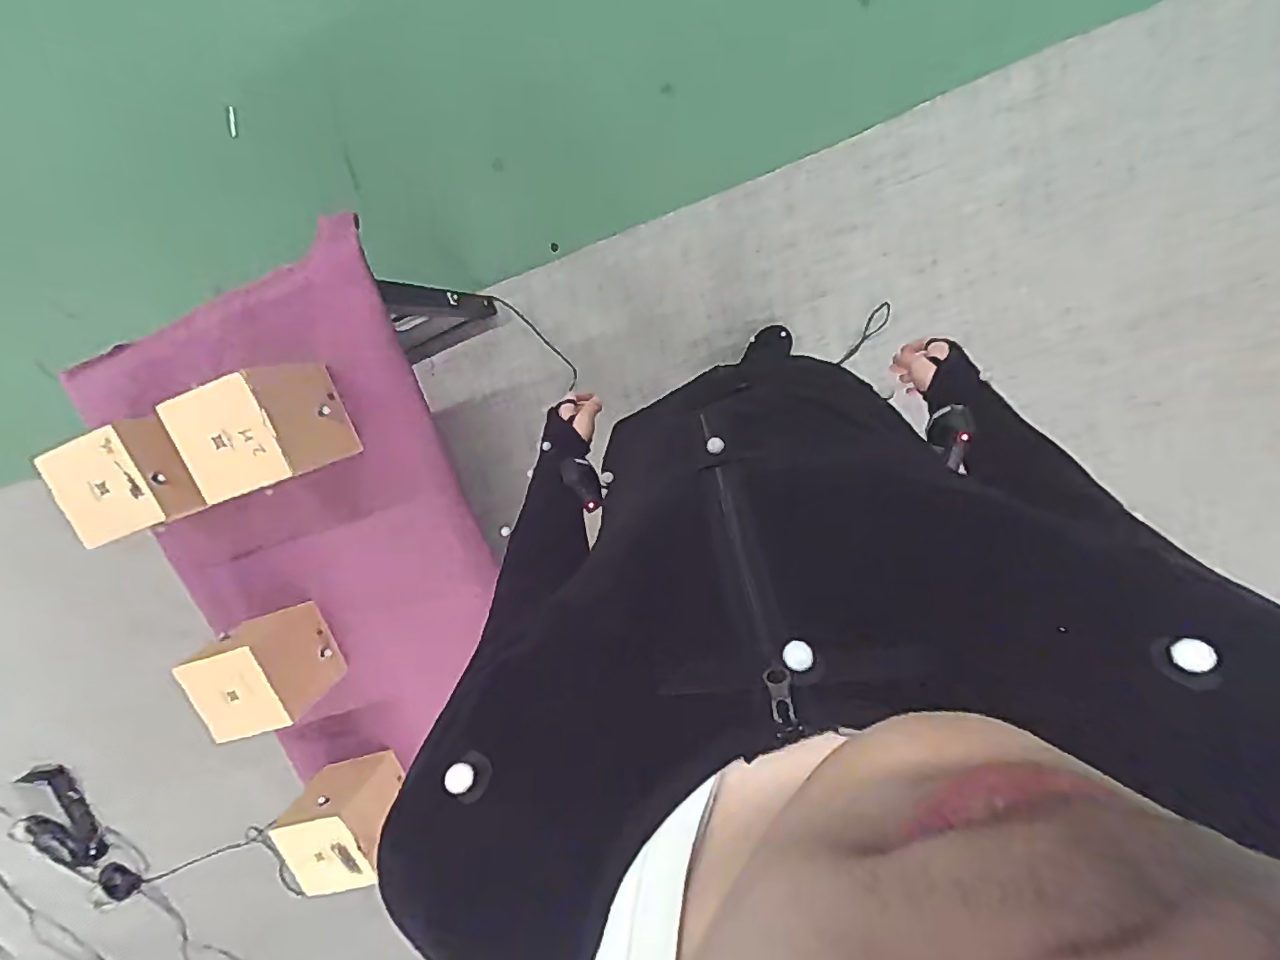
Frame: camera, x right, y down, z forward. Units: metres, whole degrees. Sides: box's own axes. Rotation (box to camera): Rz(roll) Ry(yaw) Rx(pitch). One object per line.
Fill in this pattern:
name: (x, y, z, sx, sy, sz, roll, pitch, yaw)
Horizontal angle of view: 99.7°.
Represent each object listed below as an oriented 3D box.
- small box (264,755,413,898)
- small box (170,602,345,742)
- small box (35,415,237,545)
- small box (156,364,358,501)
small box: (-0.588, 0.687, 1.088, 0.179, 0.176, 0.168, -18, 101, 13)
small box: (-0.707, 0.355, 1.020, 0.179, 0.176, 0.168, -17, 102, 12)
small box: (-0.856, -0.010, 0.942, 0.179, 0.176, 0.168, -18, 102, 12)
small box: (-0.611, -0.084, 0.884, 0.179, 0.176, 0.168, -16, 103, 13)
